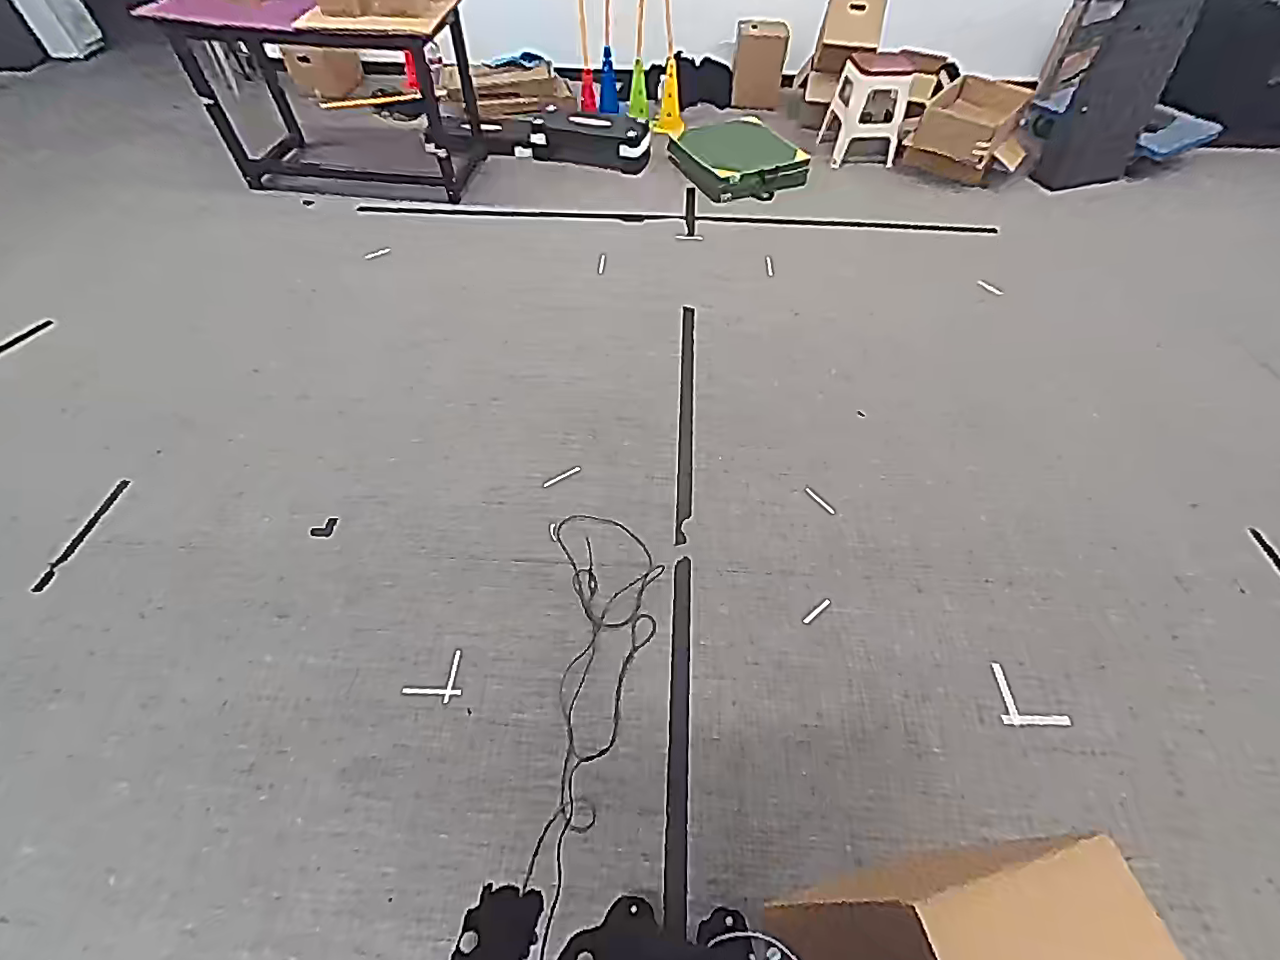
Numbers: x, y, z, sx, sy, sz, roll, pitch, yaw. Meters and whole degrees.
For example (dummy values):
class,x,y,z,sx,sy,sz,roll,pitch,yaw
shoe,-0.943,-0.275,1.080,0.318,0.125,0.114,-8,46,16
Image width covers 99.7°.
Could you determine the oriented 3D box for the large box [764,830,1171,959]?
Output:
class,x,y,z,sx,sy,sz,roll,pitch,yaw
large box,0.422,0.686,0.692,0.320,0.408,0.320,-3,53,-18
